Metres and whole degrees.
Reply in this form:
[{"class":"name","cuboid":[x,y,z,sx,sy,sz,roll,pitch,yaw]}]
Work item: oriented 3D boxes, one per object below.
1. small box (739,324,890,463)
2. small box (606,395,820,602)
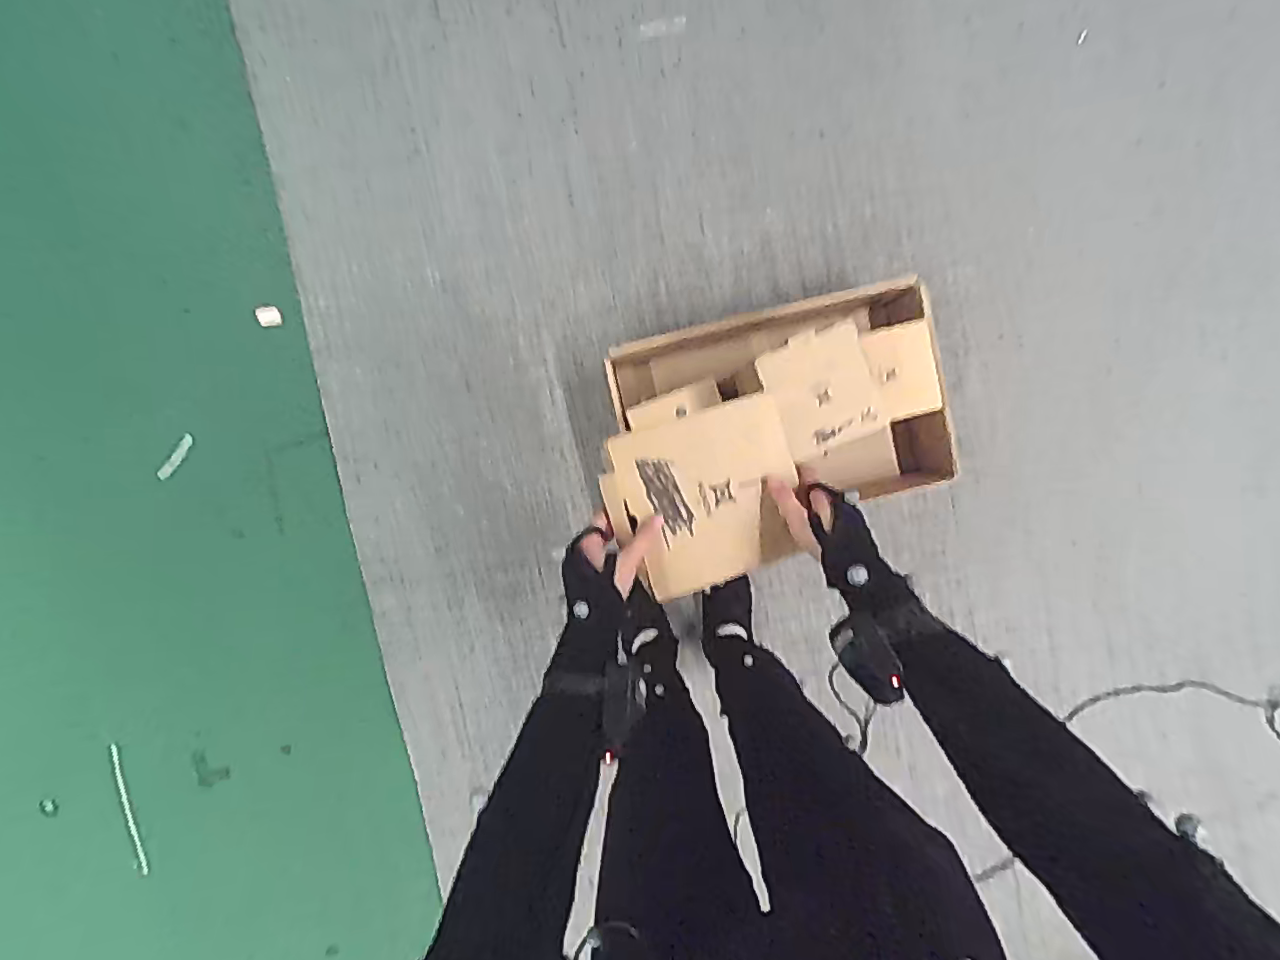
[{"class":"small box","cuboid":[0.281,-0.137,0.913,0.168,0.176,0.179,-22,94,2]},{"class":"small box","cuboid":[0.066,0.020,0.602,0.179,0.176,0.168,-17,91,-6]}]
